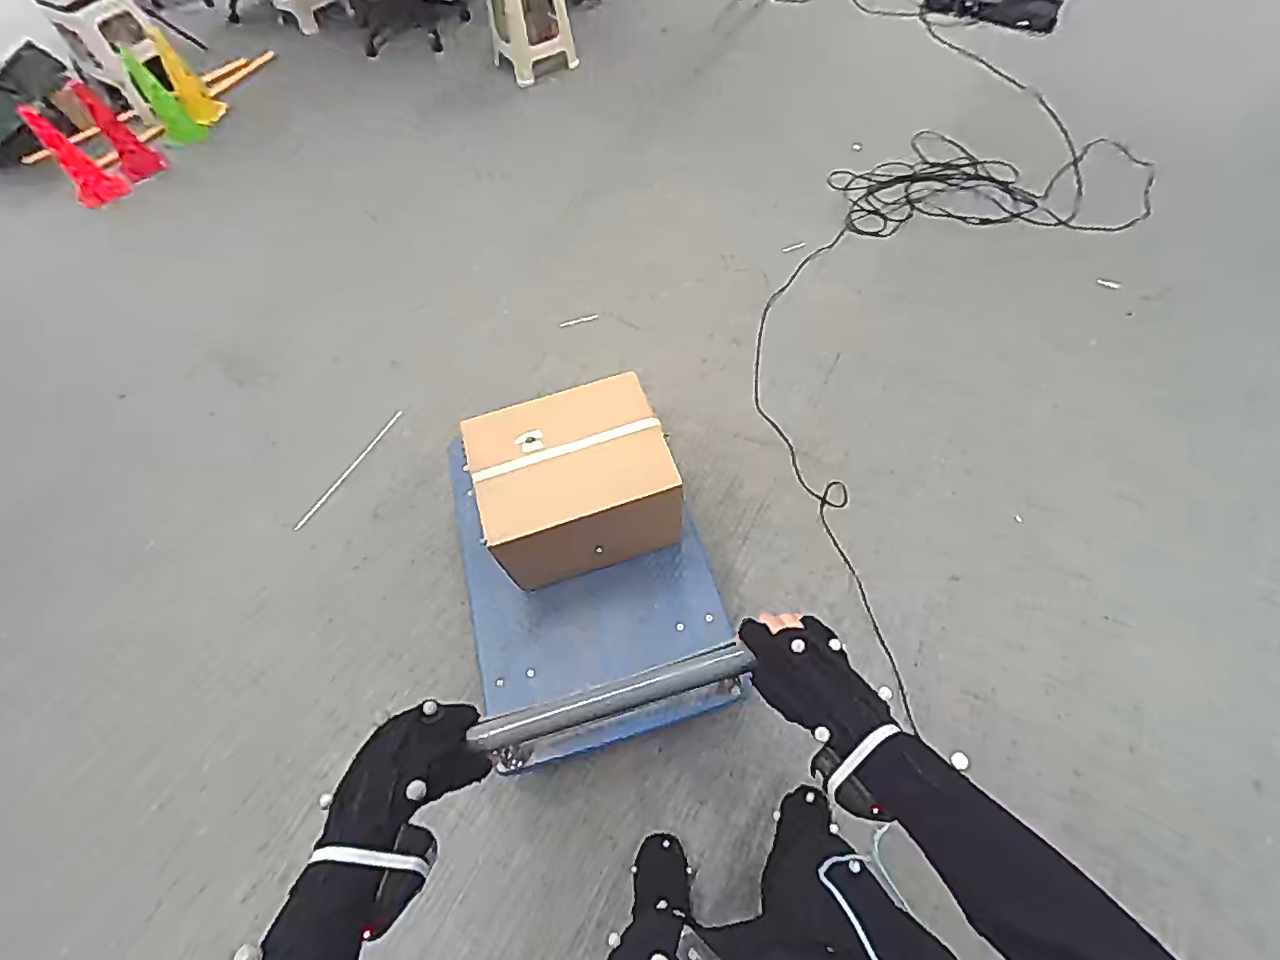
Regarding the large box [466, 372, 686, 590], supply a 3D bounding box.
[{"bbox_3d":[-0.133,0.014,1.265,0.408,0.320,0.320,-20,62,-6],"label":"large box"}]
